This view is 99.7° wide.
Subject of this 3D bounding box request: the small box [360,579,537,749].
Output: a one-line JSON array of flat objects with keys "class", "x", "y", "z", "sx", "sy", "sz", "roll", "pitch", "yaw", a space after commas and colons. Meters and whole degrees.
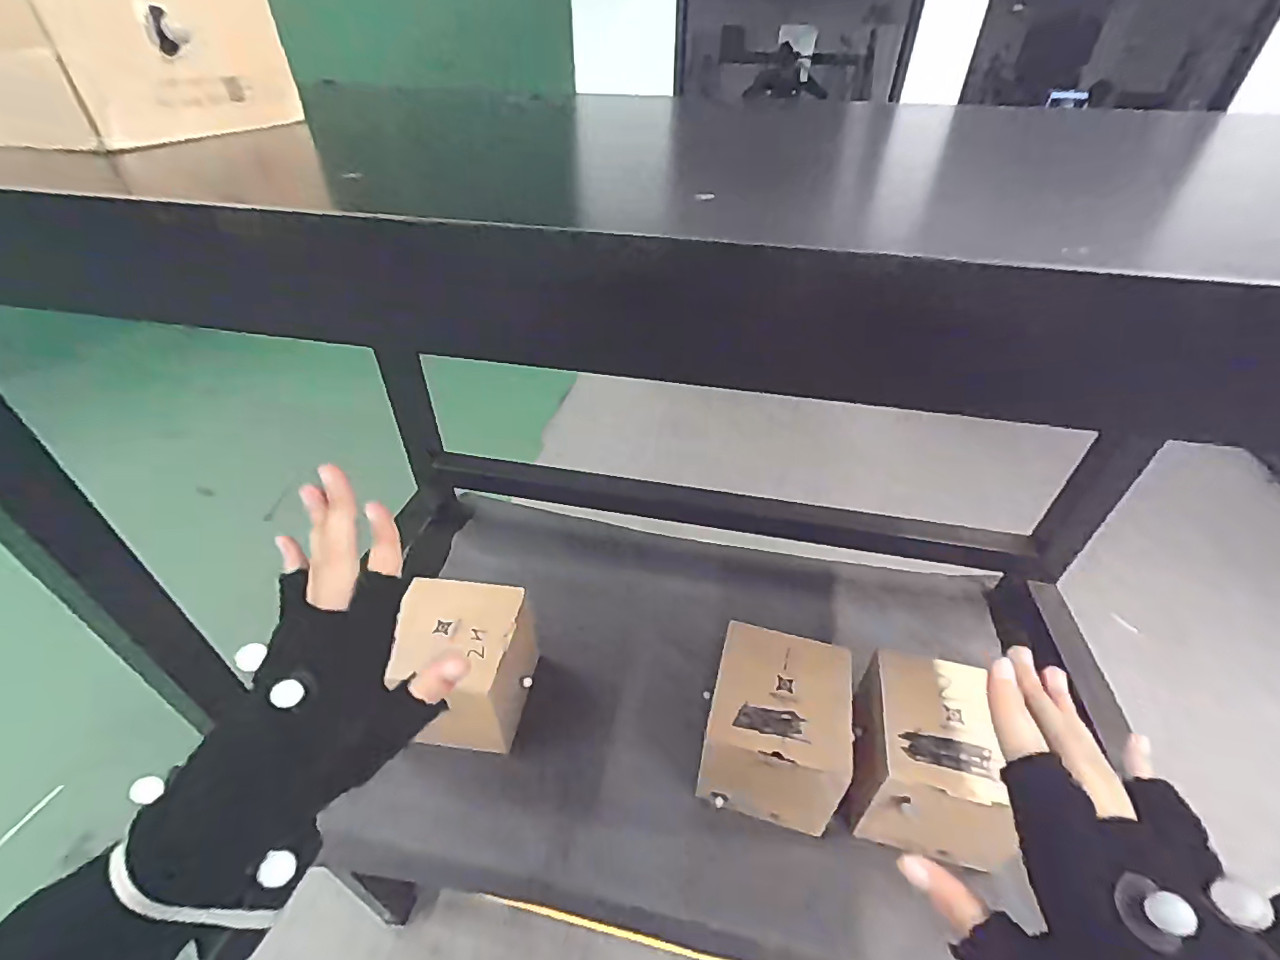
[{"class": "small box", "x": -0.262, "y": 0.268, "z": 0.787, "sx": 0.179, "sy": 0.176, "sz": 0.168, "roll": 6, "pitch": 39, "yaw": 5}]
